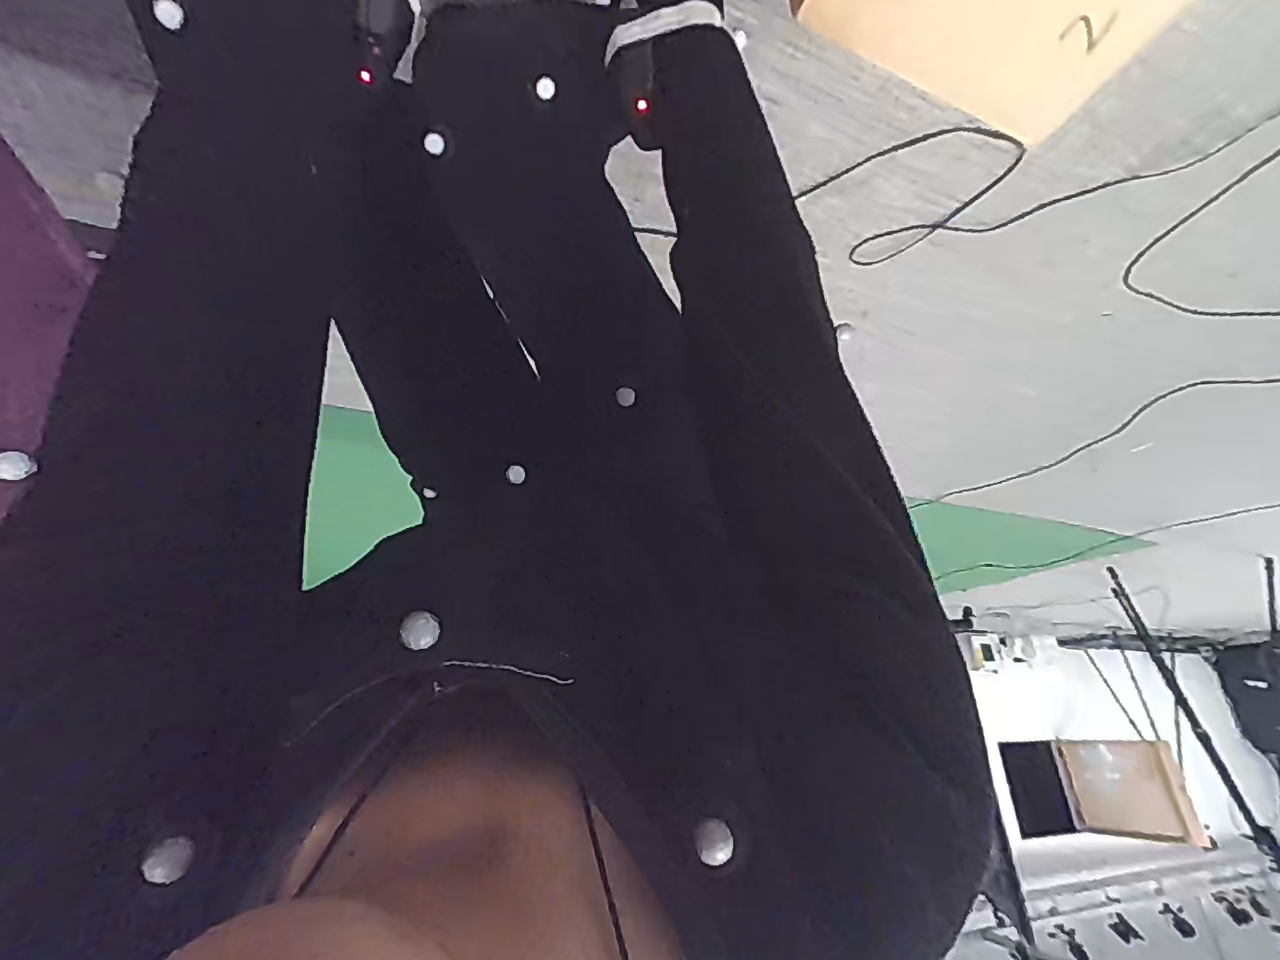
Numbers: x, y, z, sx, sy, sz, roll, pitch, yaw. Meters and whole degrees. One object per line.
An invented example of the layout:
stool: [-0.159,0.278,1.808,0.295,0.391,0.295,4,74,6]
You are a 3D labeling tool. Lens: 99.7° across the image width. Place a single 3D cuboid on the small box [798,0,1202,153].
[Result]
small box: [0.187,-0.315,0.263,0.179,0.176,0.168,10,155,-20]
